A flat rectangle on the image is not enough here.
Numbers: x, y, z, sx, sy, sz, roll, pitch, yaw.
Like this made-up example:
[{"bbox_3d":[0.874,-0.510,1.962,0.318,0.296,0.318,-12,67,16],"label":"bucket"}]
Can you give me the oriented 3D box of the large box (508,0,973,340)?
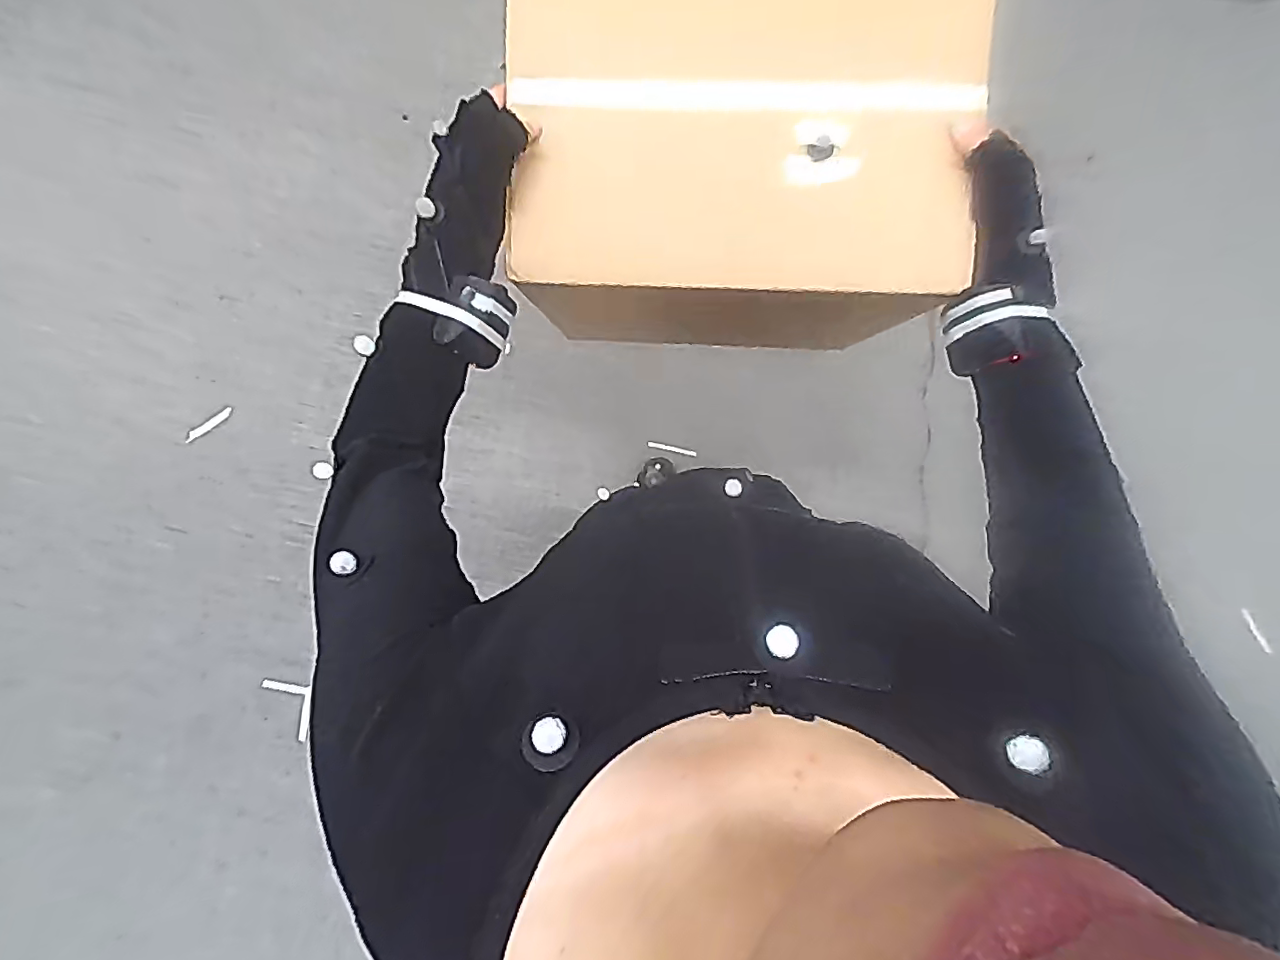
[{"bbox_3d":[0.084,-0.343,0.617,0.408,0.320,0.320,2,95,1],"label":"large box"}]
